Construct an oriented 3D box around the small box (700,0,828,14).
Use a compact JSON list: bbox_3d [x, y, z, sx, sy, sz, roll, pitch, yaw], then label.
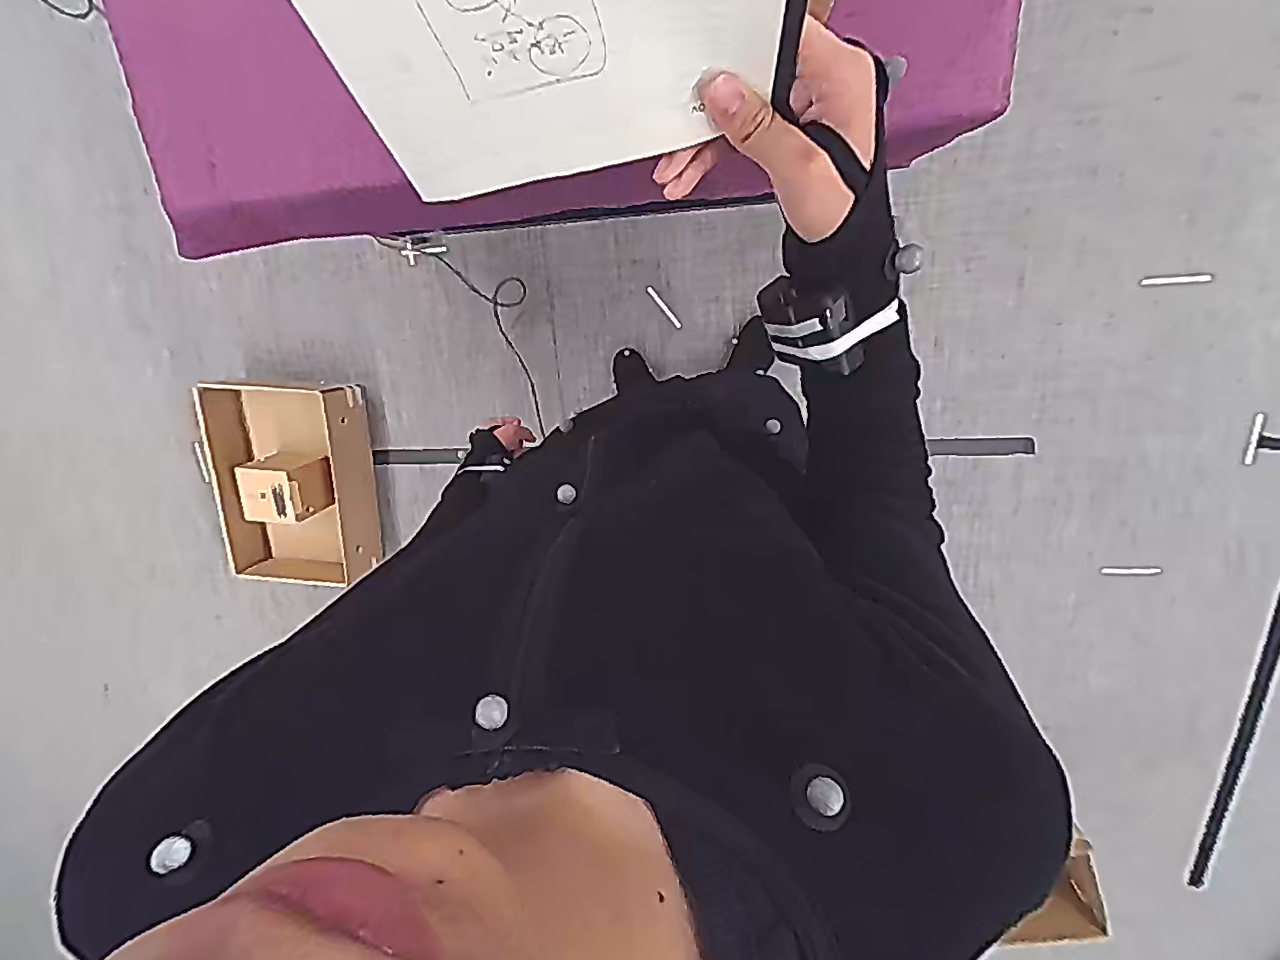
[{"bbox_3d":[0.143,-0.634,0.573,0.168,0.176,0.179,4,108,6],"label":"small box"}]
